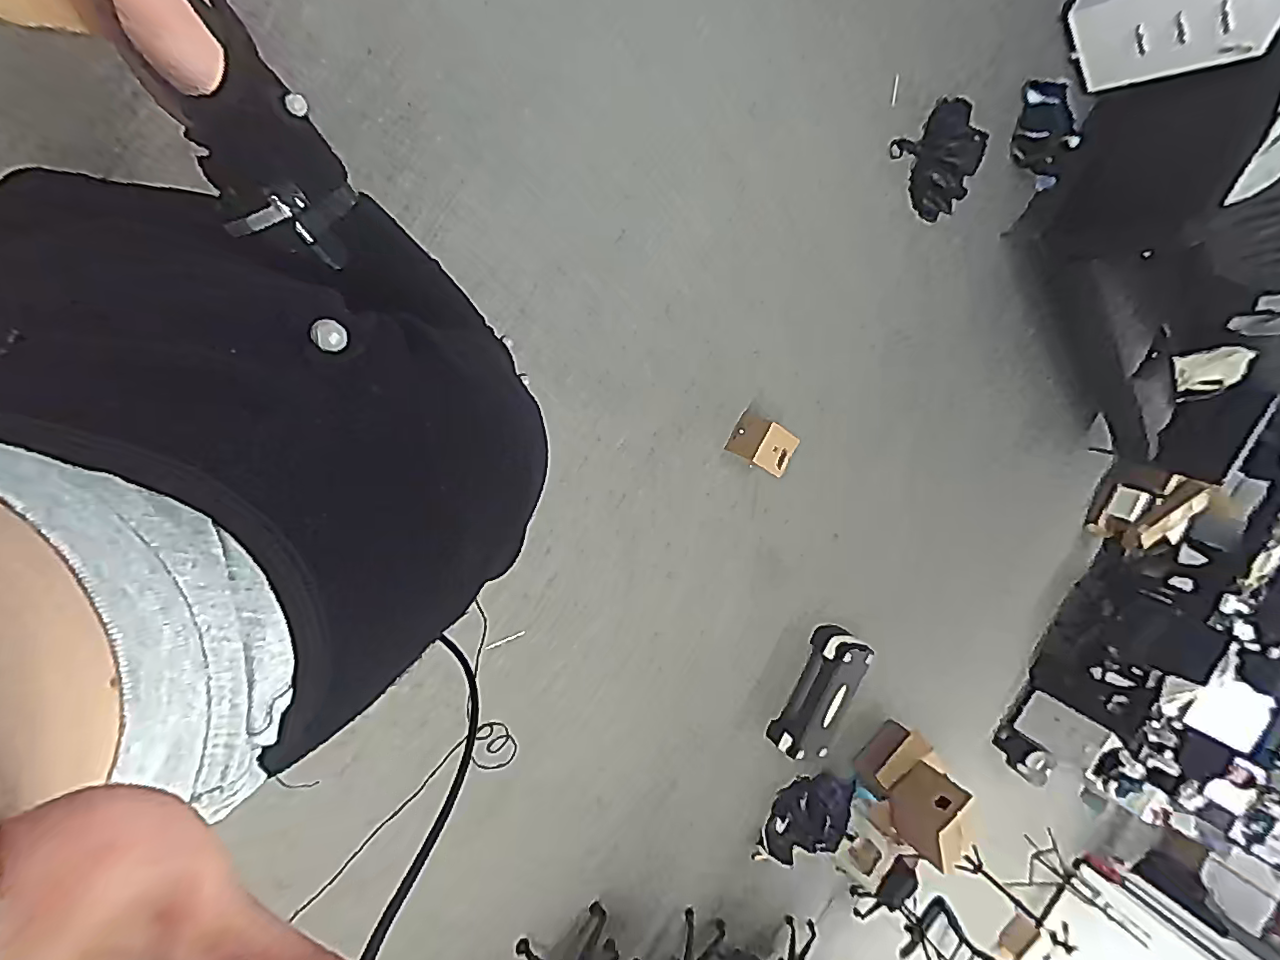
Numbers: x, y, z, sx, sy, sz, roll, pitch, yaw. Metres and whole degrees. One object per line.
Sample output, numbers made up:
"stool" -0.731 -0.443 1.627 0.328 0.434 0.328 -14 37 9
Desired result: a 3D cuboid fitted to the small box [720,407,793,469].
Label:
"small box" 0.442 -0.166 2.072 0.179 0.176 0.168 25 93 -36
